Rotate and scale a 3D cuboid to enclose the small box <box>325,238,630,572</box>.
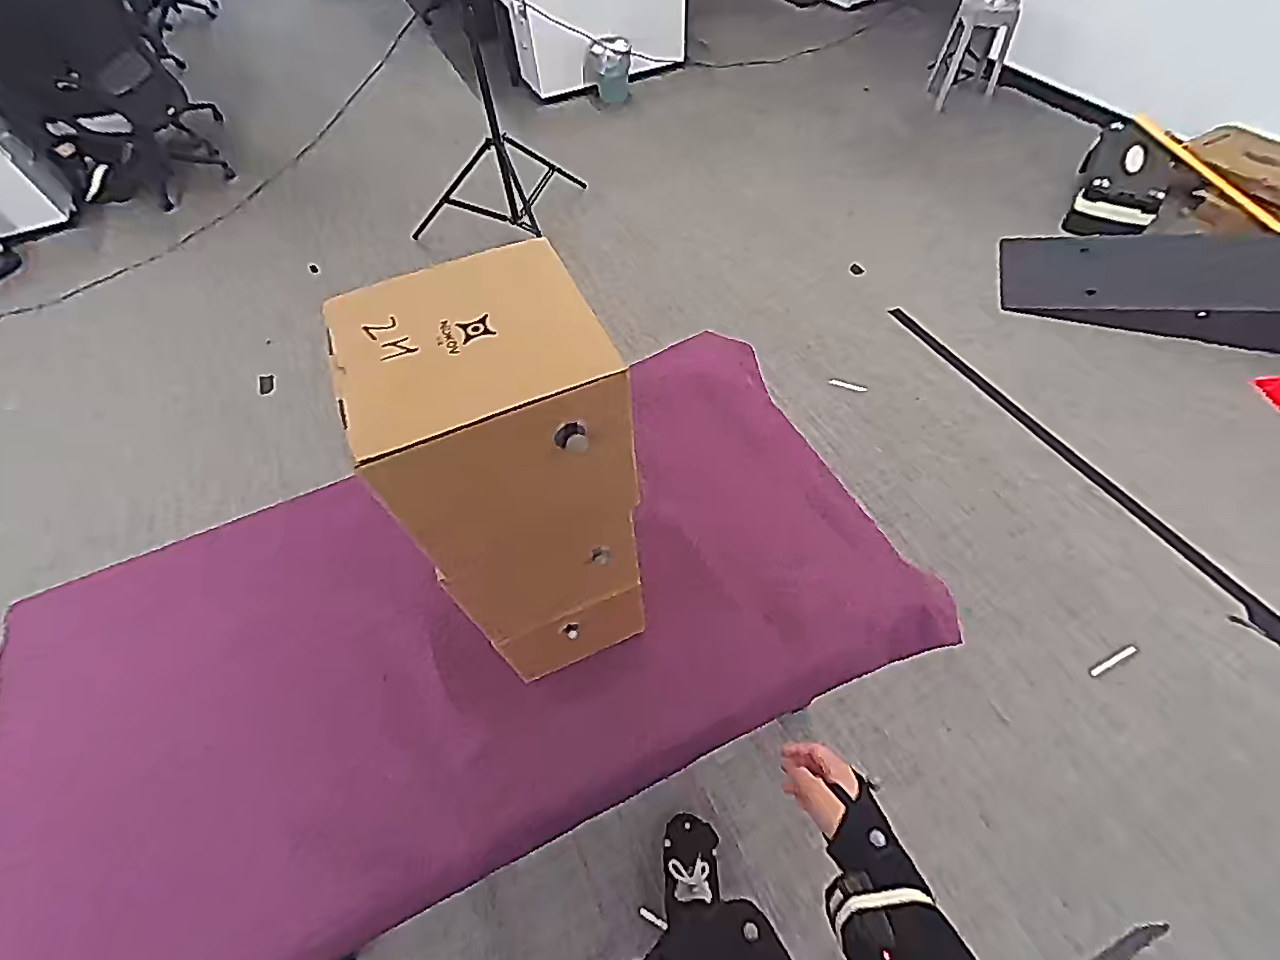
[{"bbox_3d":[-0.115,-0.055,0.435,0.179,0.176,0.168,-22,57,-11],"label":"small box"}]

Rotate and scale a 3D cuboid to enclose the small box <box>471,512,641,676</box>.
[{"bbox_3d":[-0.108,0.131,0.707,0.179,0.176,0.168,-21,58,-11],"label":"small box"}]
